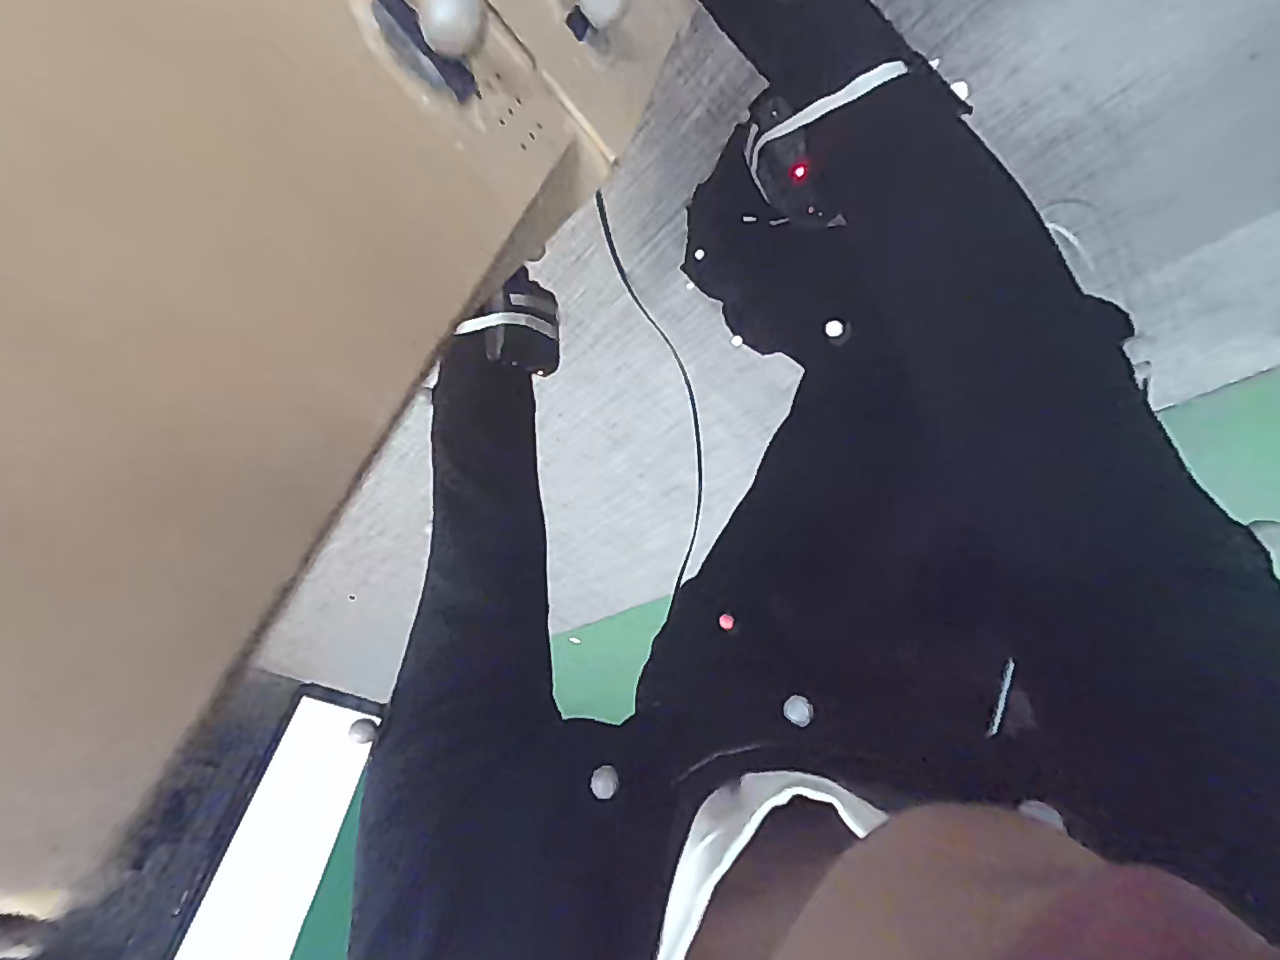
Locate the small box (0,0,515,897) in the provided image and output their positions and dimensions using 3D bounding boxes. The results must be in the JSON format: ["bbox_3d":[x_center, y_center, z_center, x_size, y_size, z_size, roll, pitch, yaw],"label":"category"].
[{"bbox_3d":[-0.146,-0.046,0.103,0.179,0.176,0.168,-21,131,36],"label":"small box"}]

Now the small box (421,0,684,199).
[{"bbox_3d":[-0.086,-0.292,0.315,0.179,0.176,0.168,-21,132,34],"label":"small box"}]
